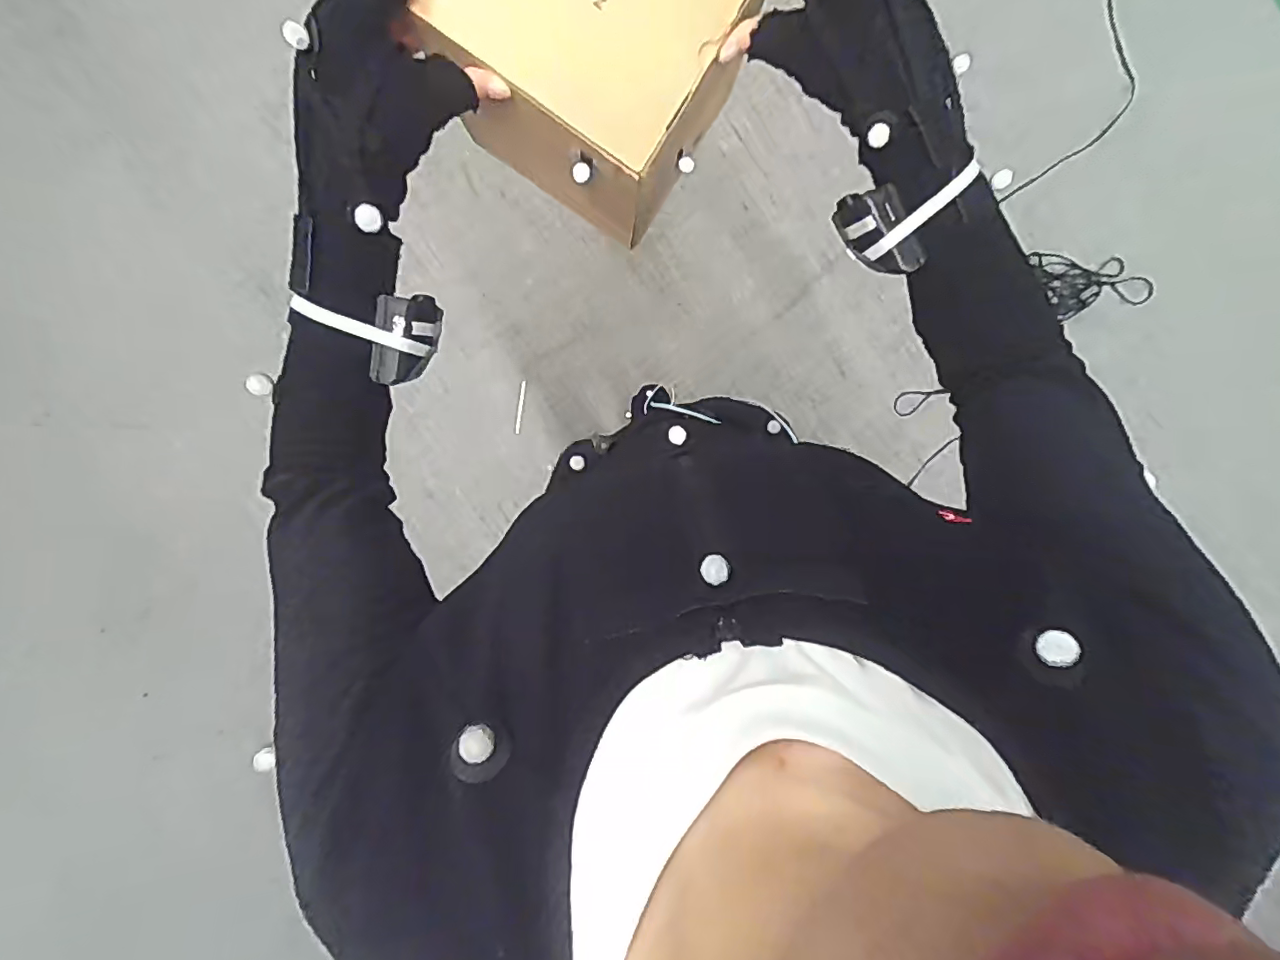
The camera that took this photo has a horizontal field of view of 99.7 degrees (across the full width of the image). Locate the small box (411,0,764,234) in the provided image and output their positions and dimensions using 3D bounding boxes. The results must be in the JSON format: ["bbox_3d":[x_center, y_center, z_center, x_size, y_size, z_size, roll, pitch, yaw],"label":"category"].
[{"bbox_3d":[-0.032,-0.320,0.408,0.179,0.176,0.168,33,95,-8],"label":"small box"}]
